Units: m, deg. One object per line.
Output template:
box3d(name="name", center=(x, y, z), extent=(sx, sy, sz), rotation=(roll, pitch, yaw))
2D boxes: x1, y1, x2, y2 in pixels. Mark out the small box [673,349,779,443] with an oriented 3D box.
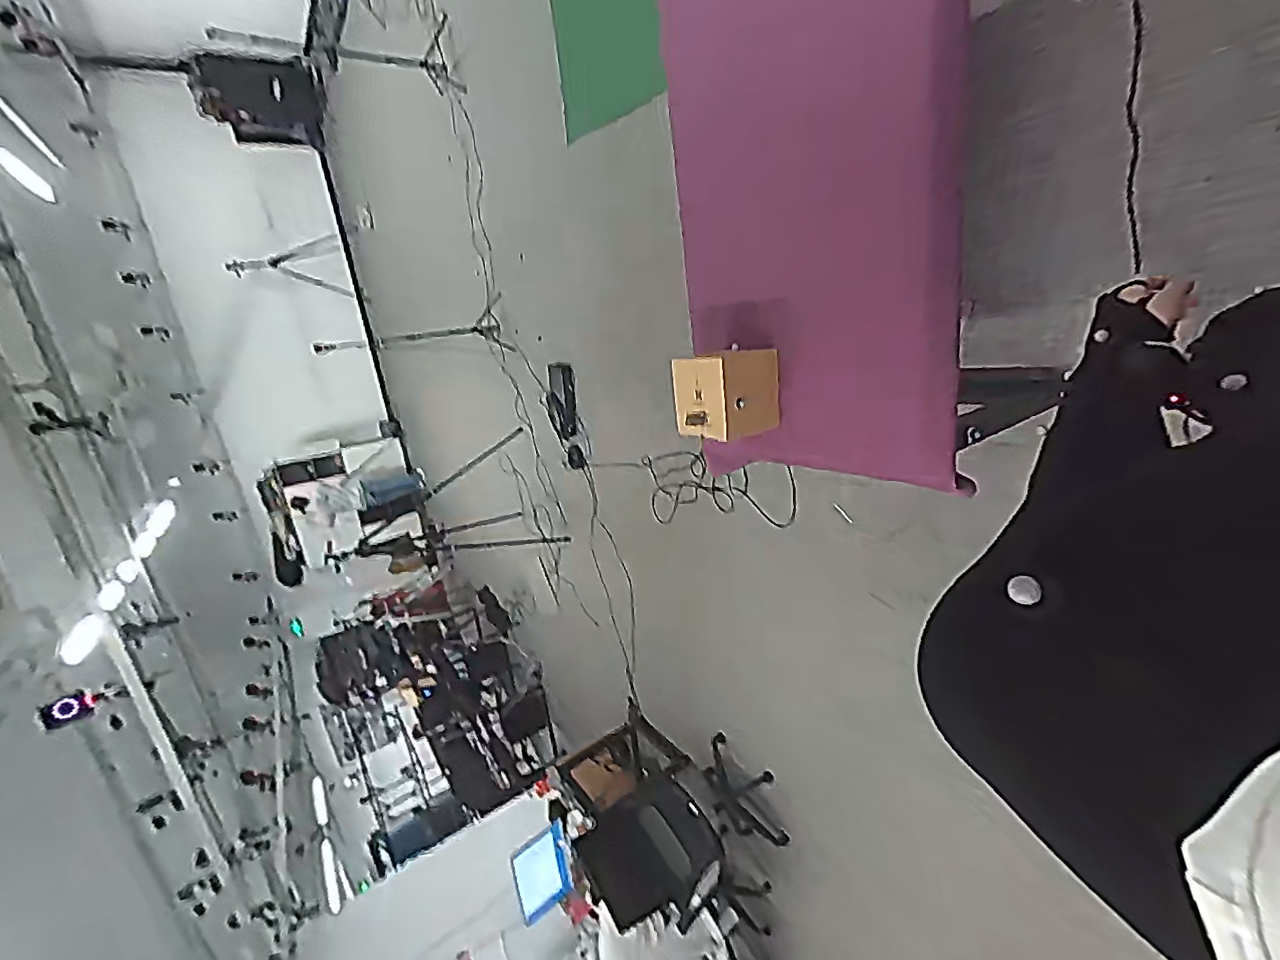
box3d(name="small box", center=(0.198, -0.194, 1.220), extent=(0.168, 0.176, 0.179), rotation=(16, 118, 53))
